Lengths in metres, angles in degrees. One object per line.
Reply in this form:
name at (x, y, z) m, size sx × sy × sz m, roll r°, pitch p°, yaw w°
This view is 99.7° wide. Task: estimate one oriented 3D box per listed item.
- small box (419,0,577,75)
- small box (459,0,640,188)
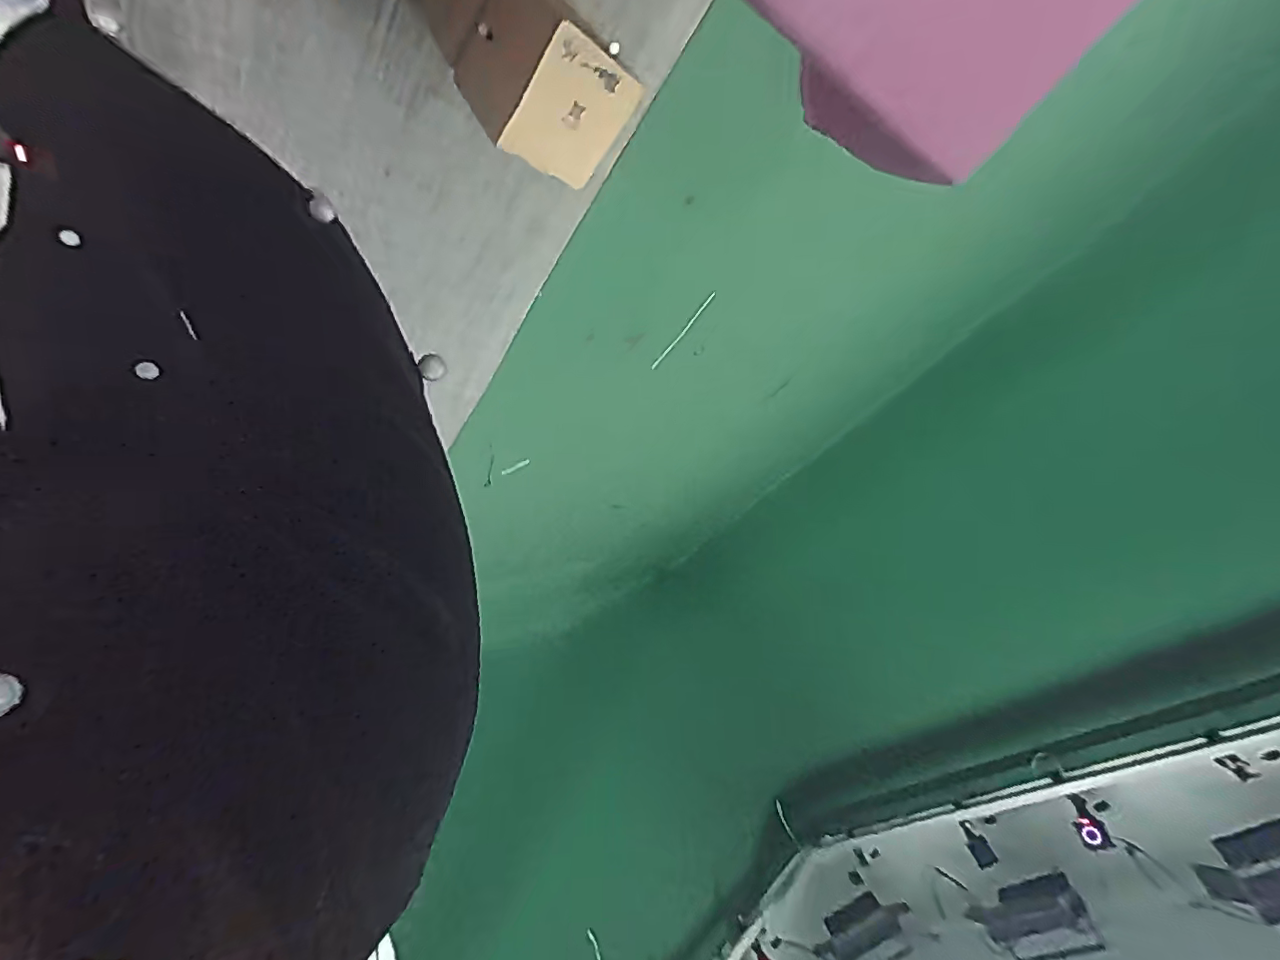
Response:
small box at (-0.216, -0.715, 0.836) m, size 0.179 × 0.176 × 0.168 m, roll -43°, pitch 156°, yaw 27°
small box at (-0.138, -0.578, 0.783) m, size 0.179 × 0.176 × 0.168 m, roll -42°, pitch 158°, yaw 32°
